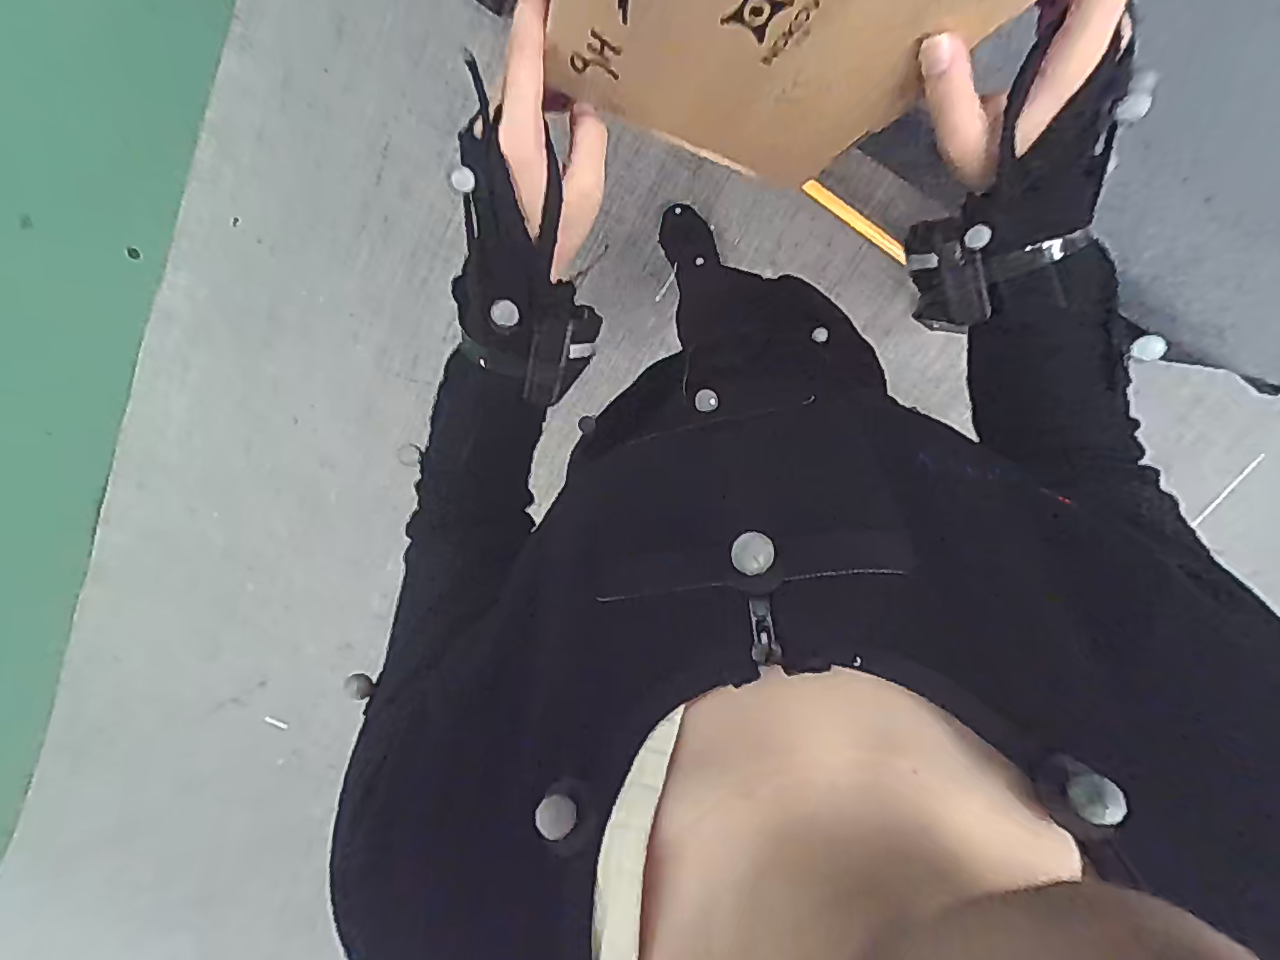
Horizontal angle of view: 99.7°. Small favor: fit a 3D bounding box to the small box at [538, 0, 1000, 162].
[{"bbox_3d":[0.066,-0.293,0.239,0.179,0.168,0.176,7,82,-25],"label":"small box"}]
